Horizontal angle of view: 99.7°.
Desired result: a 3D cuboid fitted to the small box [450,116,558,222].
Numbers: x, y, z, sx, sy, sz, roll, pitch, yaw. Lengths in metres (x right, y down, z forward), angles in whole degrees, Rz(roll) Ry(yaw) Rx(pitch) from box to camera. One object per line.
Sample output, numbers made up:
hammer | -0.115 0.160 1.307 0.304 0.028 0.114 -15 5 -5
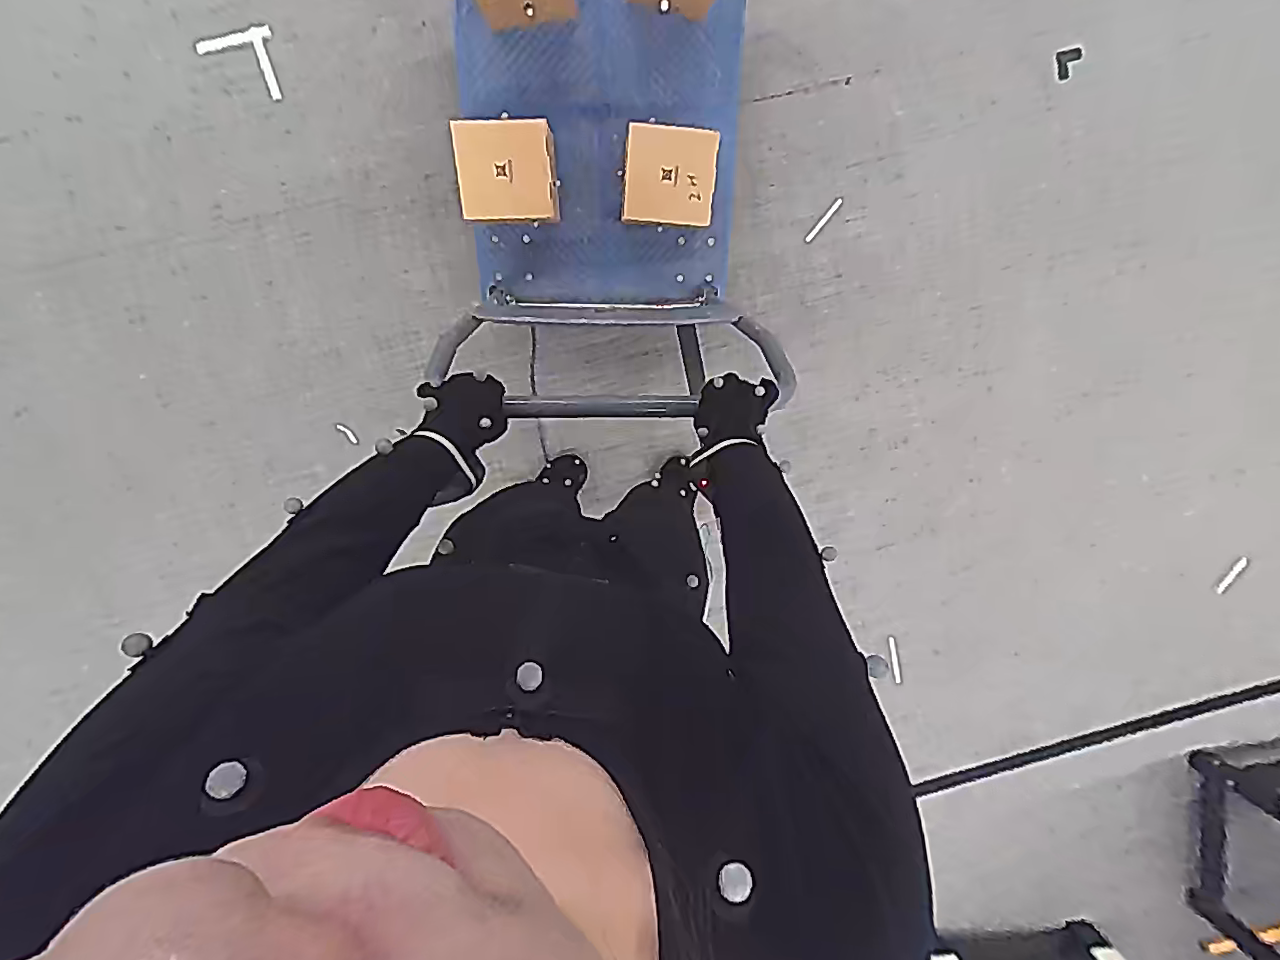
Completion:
small box | -0.262 -0.615 1.087 0.179 0.176 0.168 -4 113 -4

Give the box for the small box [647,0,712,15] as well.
small box | 0.072 -0.978 0.956 0.168 0.176 0.179 9 113 -8

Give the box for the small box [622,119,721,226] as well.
small box | 0.055 -0.619 1.108 0.179 0.176 0.168 3 113 -5
